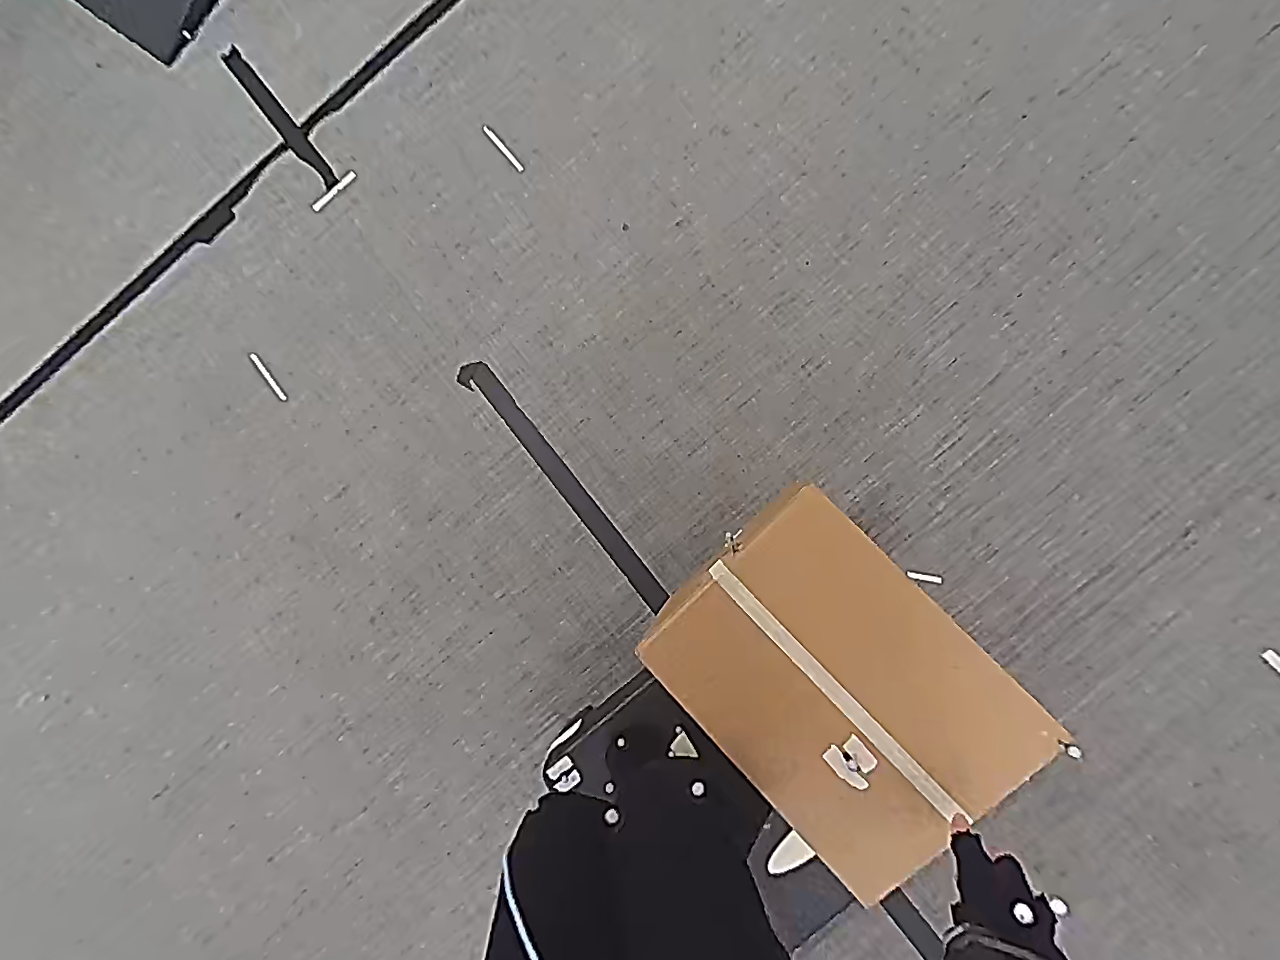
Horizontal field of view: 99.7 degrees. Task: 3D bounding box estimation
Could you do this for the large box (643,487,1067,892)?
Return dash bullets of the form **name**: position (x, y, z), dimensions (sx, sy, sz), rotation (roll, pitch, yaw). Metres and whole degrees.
- **large box**: position (0.268, 0.253, 0.802), dimensions (0.408, 0.320, 0.320), rotation (46, 98, 8)
